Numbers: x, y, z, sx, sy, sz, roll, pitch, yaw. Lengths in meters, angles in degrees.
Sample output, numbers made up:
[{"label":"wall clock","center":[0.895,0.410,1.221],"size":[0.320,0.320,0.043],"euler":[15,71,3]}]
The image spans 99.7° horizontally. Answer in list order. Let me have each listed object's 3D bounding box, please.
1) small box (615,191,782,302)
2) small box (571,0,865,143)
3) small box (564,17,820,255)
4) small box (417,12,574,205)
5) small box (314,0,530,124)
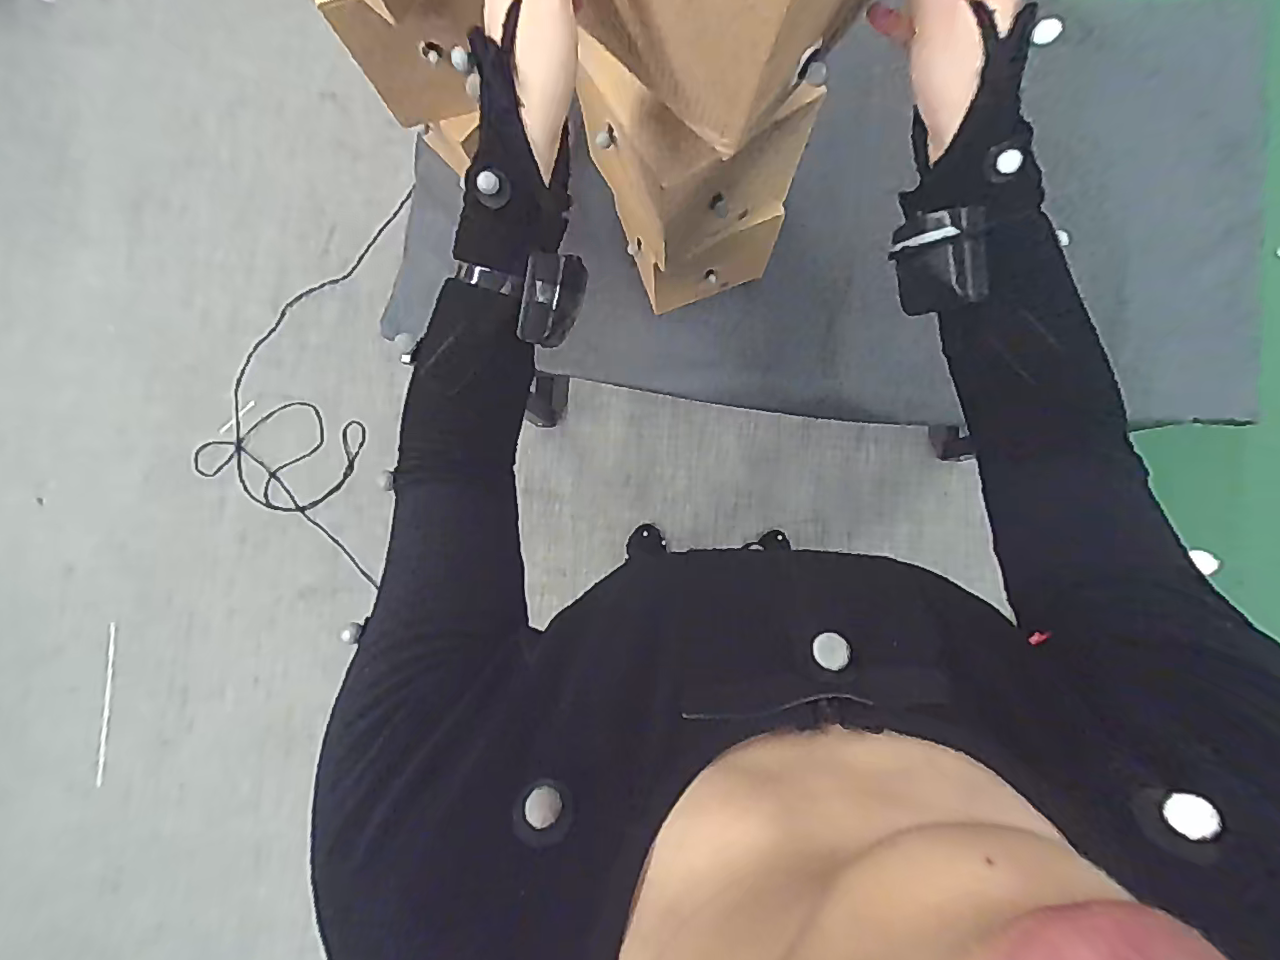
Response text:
[{"label":"small box","center":[0.066,-0.356,0.709],"size":[0.168,0.176,0.179],"euler":[-20,85,2]},{"label":"small box","center":[0.058,-0.353,0.317],"size":[0.179,0.176,0.168],"euler":[42,91,-5]},{"label":"small box","center":[0.050,-0.359,0.548],"size":[0.168,0.176,0.179],"euler":[-31,85,2]},{"label":"small box","center":[-0.215,-0.522,0.736],"size":[0.168,0.176,0.179],"euler":[-45,86,1]},{"label":"small box","center":[-0.226,-0.525,0.572],"size":[0.179,0.176,0.168],"euler":[-14,87,3]}]
